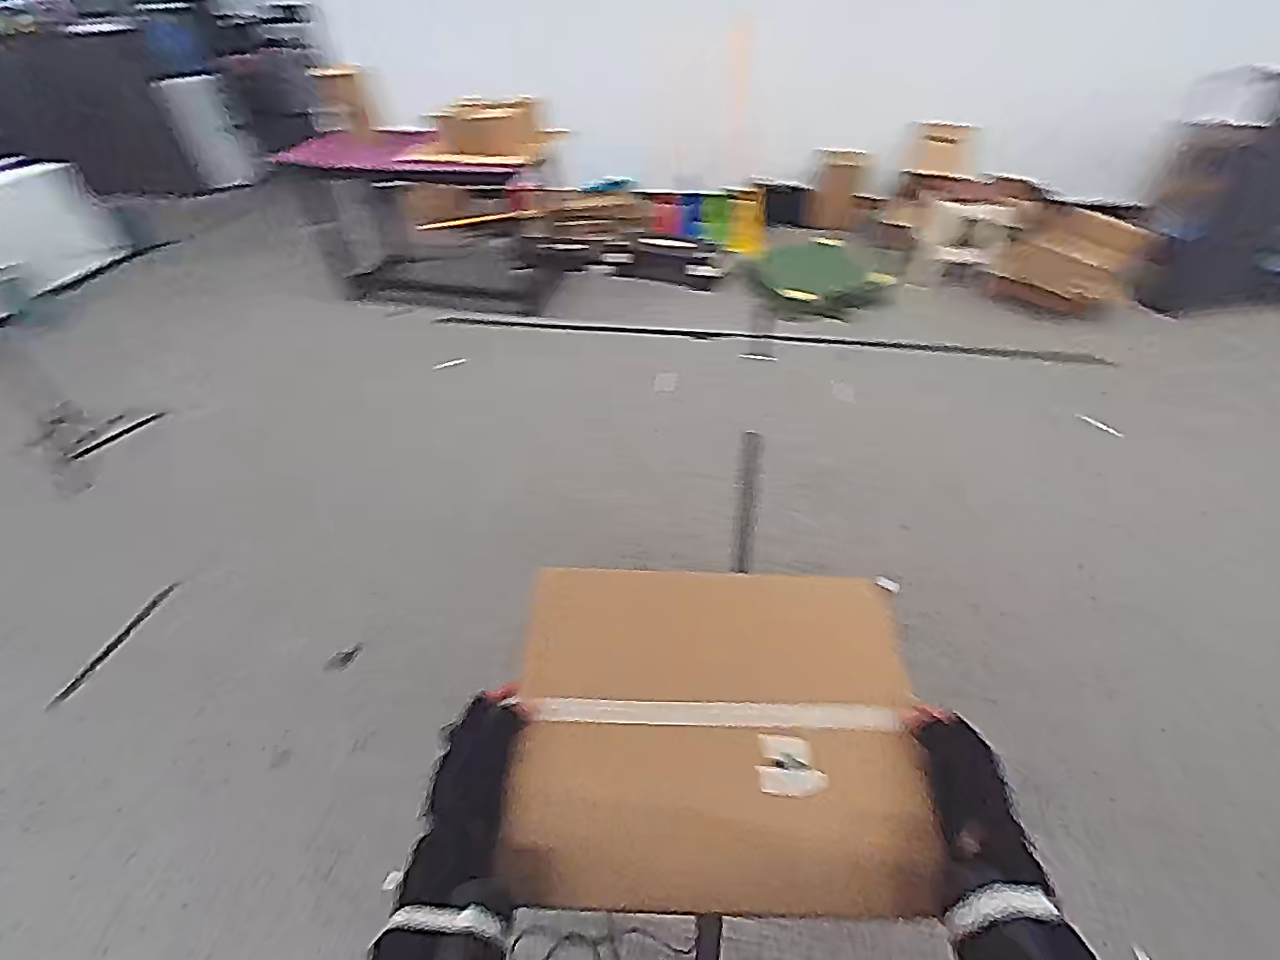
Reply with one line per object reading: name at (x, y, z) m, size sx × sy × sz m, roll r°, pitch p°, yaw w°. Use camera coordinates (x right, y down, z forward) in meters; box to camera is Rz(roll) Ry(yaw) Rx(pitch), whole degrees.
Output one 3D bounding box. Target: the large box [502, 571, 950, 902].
large box at (0.074, 0.324, 0.678) m, size 0.408 × 0.320 × 0.320 m, roll 2°, pitch 55°, yaw 0°
